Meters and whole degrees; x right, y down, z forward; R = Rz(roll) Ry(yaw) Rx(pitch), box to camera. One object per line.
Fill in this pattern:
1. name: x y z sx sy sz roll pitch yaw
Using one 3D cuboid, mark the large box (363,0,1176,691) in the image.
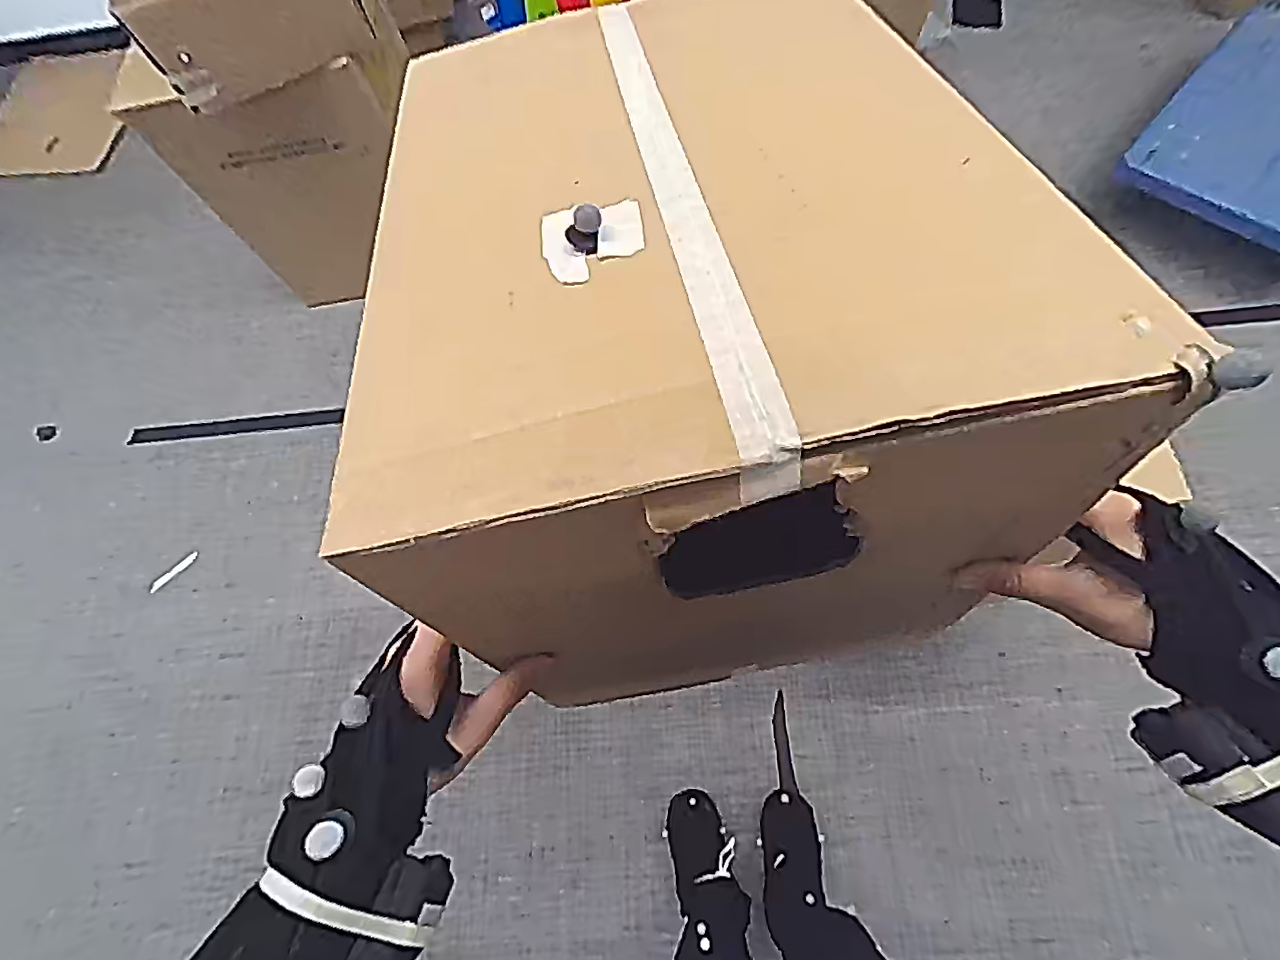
1. large box: 0.028 -0.093 0.426 0.320 0.320 0.408 -13 58 2
